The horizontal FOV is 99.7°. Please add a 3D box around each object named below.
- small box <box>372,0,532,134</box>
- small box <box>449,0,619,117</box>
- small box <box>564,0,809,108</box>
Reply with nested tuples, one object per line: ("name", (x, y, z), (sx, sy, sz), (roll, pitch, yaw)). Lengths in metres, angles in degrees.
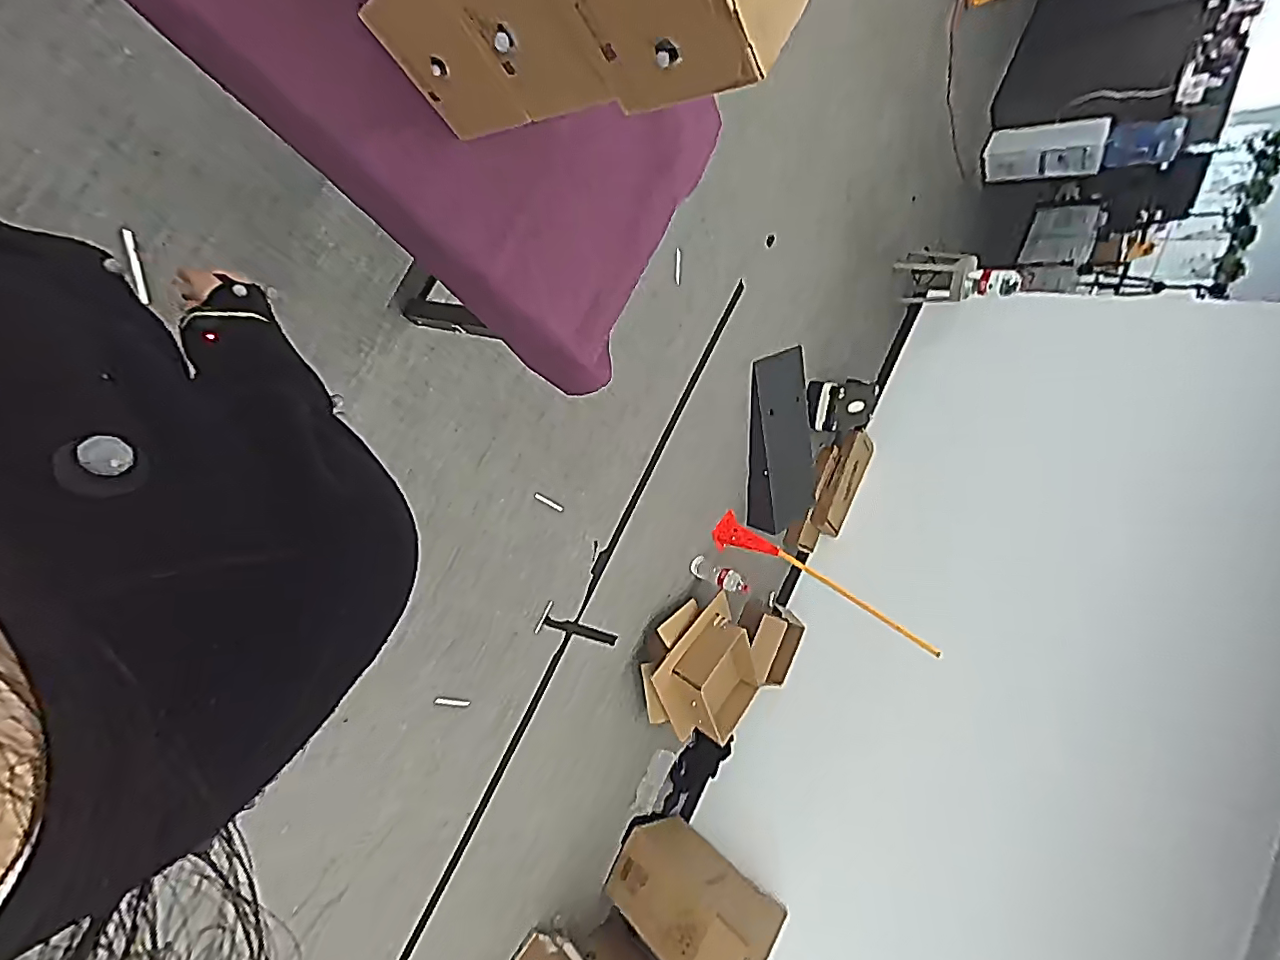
("small box", (-0.193, -0.562, 0.660), (0.168, 0.176, 0.179), (41, 73, -49))
("small box", (-0.070, -0.521, 0.559), (0.168, 0.176, 0.179), (40, 75, -49))
("small box", (0.039, -0.457, 0.455), (0.168, 0.176, 0.179), (36, 77, -50))
